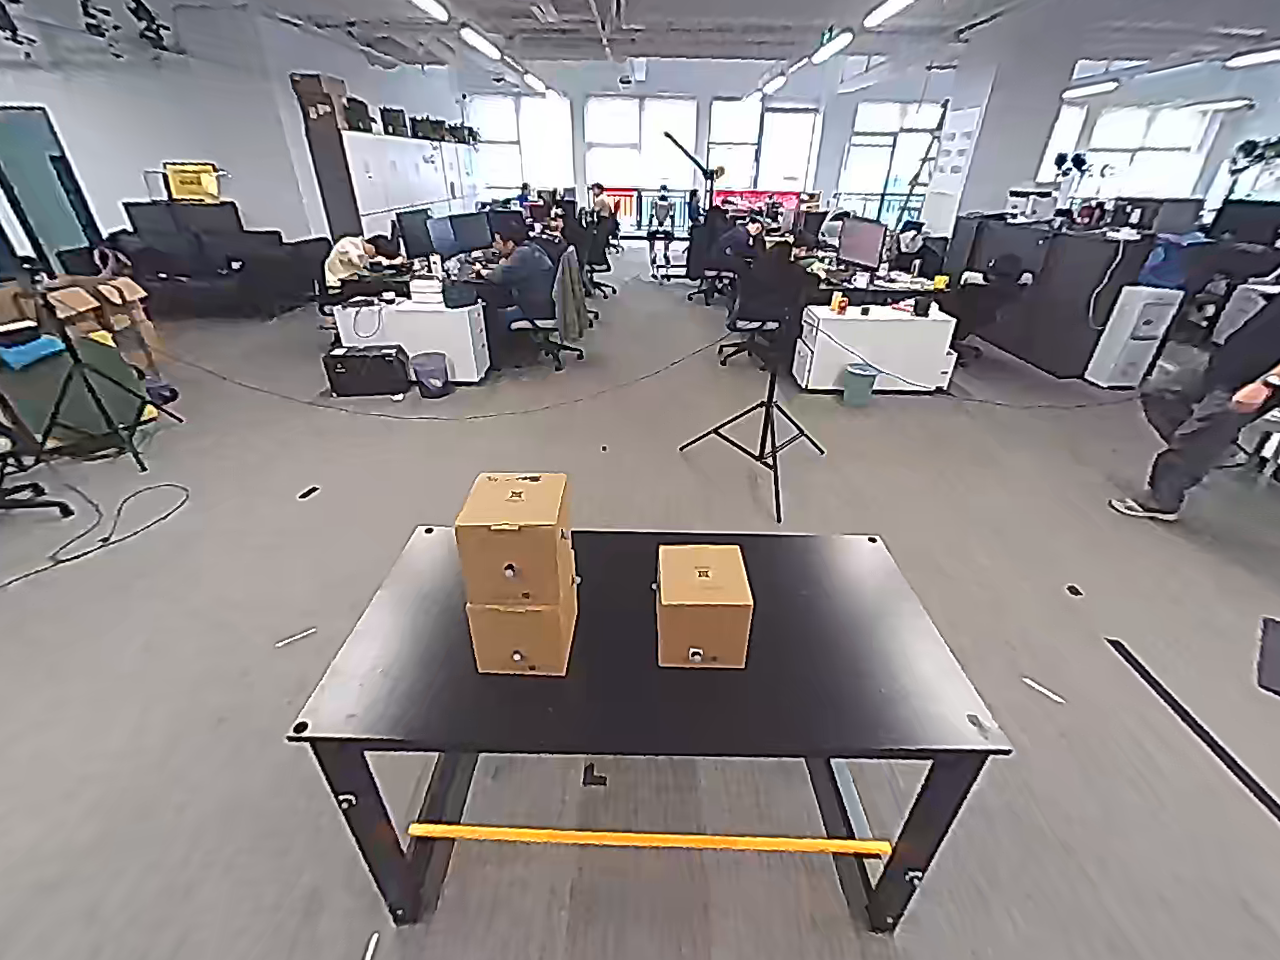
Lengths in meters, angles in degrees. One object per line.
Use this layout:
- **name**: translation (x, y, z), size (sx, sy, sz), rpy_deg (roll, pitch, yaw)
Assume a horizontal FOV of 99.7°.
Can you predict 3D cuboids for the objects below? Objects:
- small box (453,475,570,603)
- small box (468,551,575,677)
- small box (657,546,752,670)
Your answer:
- **small box**: translation (-0.219, 0.106, 0.975), size (0.168, 0.176, 0.179), rpy_deg (0, 30, -1)
- **small box**: translation (-0.218, 0.253, 1.049), size (0.168, 0.176, 0.179), rpy_deg (1, 30, 2)
- **small box**: translation (0.118, 0.249, 1.069), size (0.168, 0.176, 0.179), rpy_deg (-1, 31, 0)
